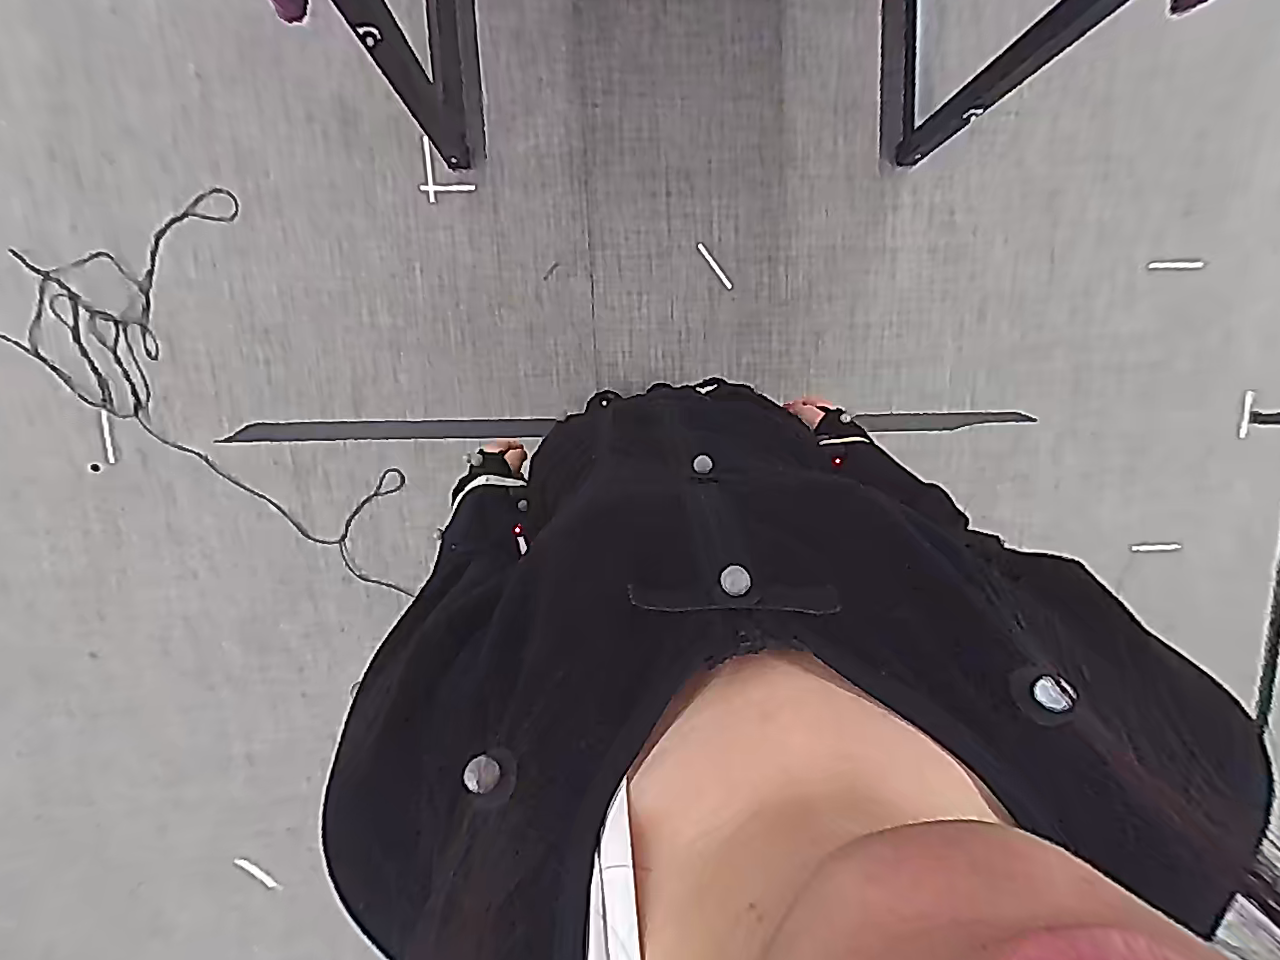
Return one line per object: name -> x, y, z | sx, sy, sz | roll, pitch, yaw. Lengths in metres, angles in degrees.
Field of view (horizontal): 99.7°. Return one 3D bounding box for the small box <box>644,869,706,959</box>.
small box -> 0.099, 1.298, 1.611 | 0.168, 0.176, 0.179 | 0, 99, -2
